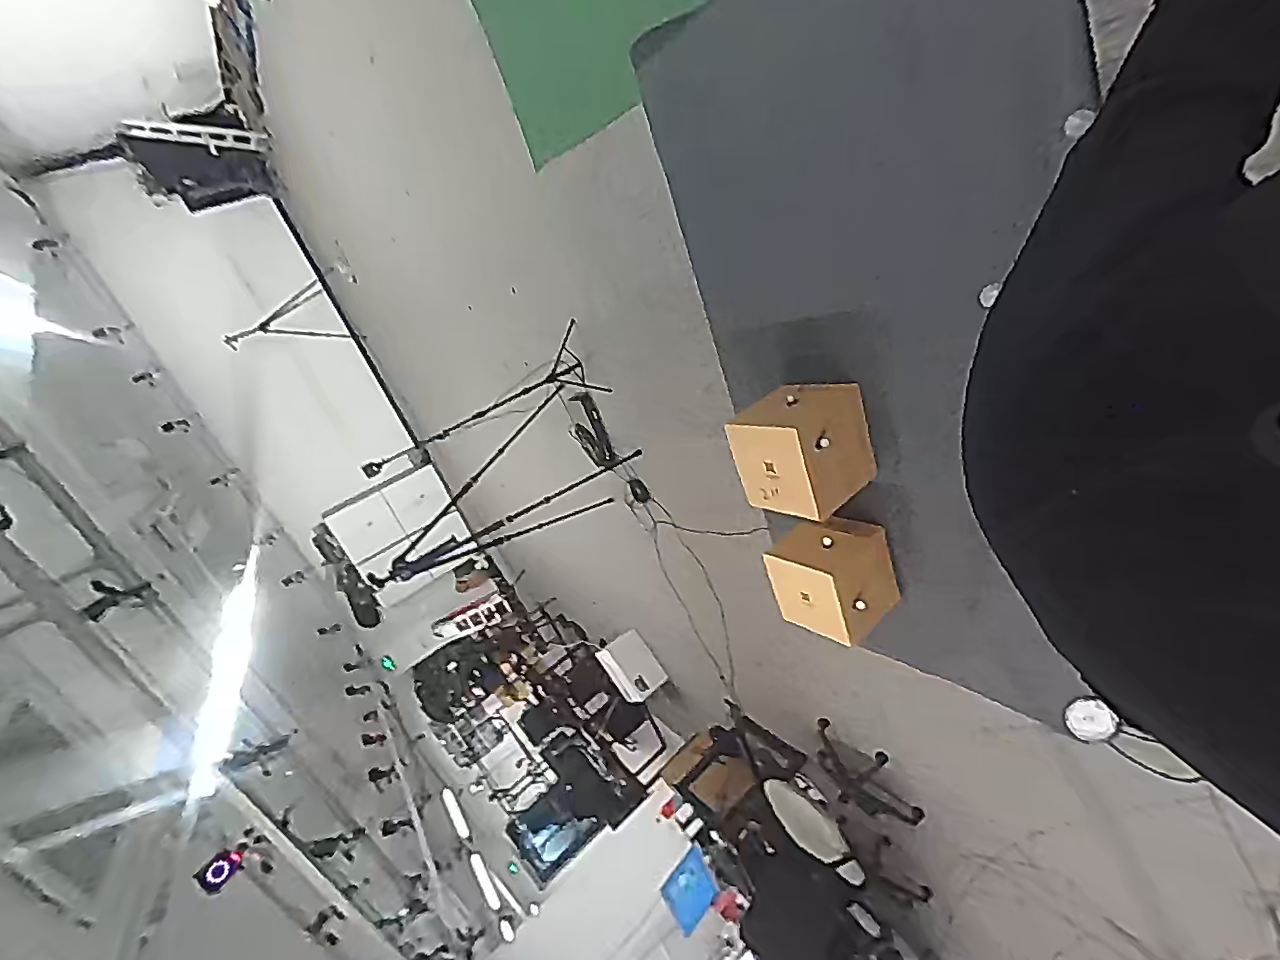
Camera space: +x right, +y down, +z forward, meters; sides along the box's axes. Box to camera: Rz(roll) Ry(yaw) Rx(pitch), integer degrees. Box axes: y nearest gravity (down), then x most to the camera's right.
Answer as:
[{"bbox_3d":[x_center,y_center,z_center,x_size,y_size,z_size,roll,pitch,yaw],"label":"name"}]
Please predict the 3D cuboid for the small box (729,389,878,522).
[{"bbox_3d":[0.292,-0.054,0.958,0.168,0.176,0.179,12,130,56],"label":"small box"}]

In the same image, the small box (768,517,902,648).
[{"bbox_3d":[0.389,0.190,1.074,0.168,0.176,0.179,12,130,56],"label":"small box"}]
